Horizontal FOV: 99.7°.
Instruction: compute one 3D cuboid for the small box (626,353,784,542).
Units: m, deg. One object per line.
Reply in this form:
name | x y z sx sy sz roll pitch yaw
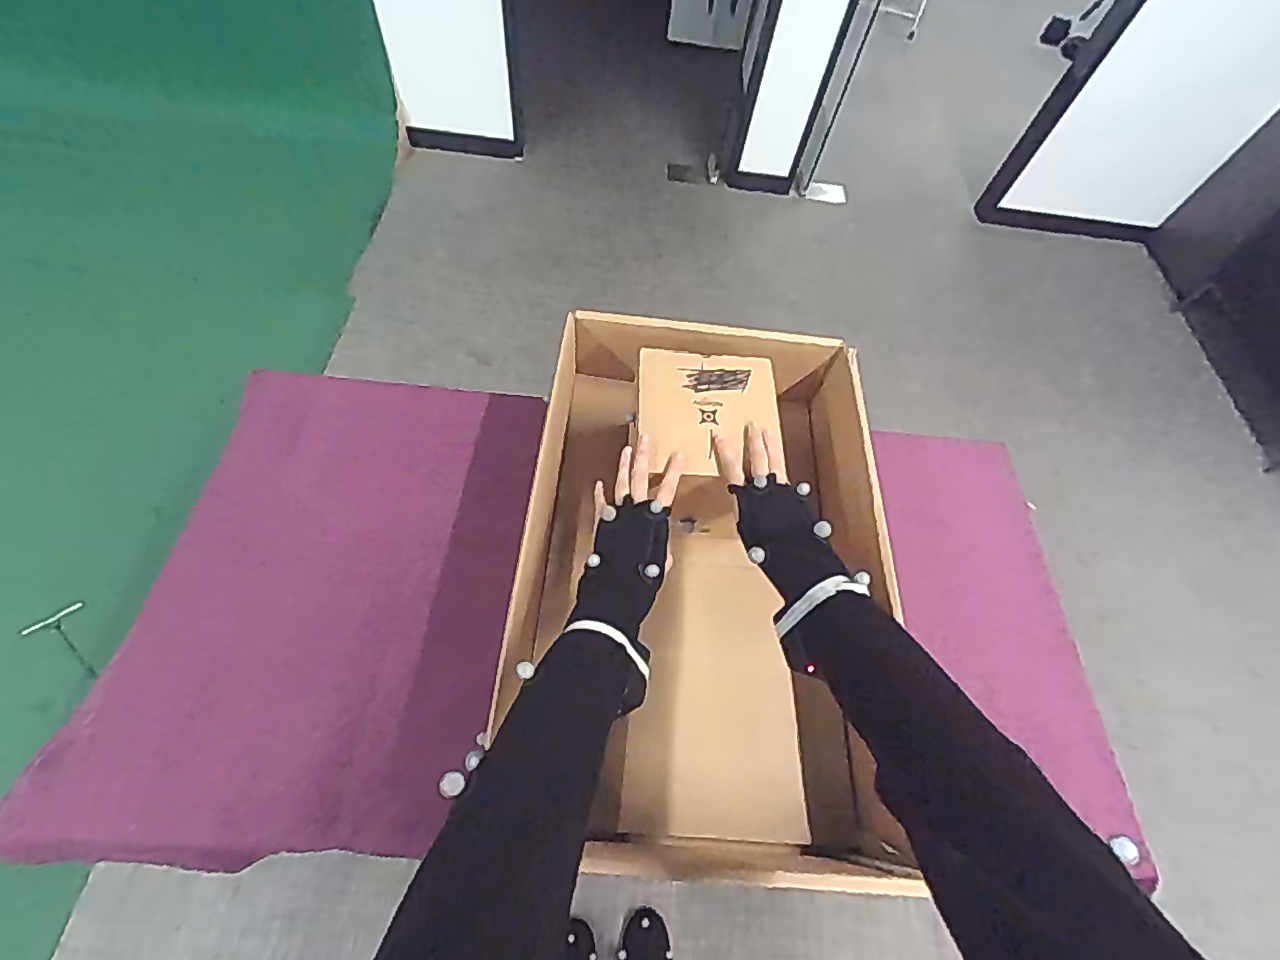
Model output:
small box | 0.071 -0.035 0.694 0.168 0.176 0.179 3 62 -5
